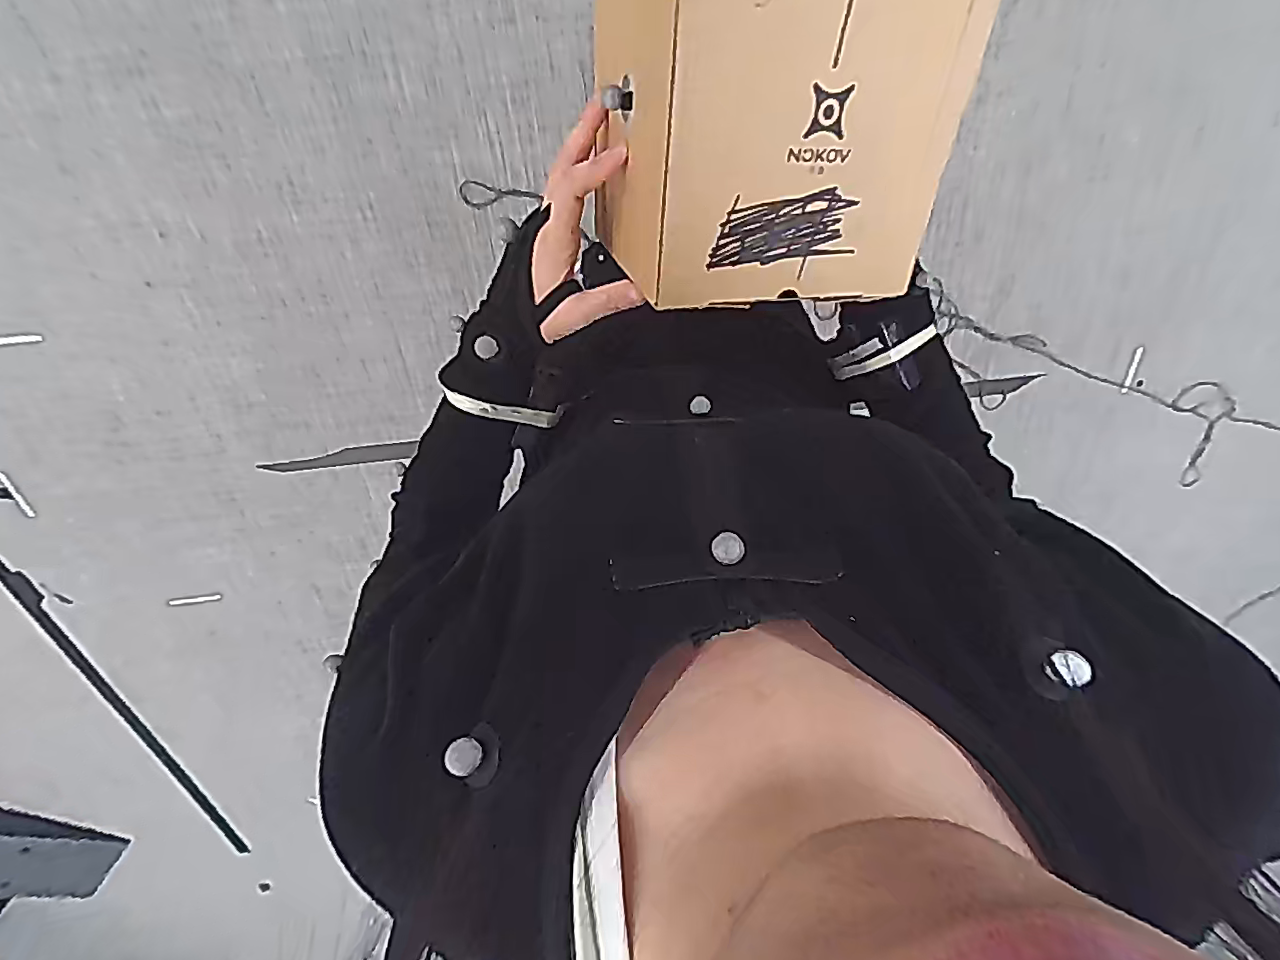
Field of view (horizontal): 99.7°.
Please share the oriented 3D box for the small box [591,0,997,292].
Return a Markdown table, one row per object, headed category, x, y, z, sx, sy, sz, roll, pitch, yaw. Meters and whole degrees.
| category | x | y | z | sx | sy | sz | roll | pitch | yaw |
| --- | --- | --- | --- | --- | --- | --- | --- | --- | --- |
| small box | 0.067 | -0.230 | 0.329 | 0.168 | 0.176 | 0.179 | -8 | 128 | -14 |
